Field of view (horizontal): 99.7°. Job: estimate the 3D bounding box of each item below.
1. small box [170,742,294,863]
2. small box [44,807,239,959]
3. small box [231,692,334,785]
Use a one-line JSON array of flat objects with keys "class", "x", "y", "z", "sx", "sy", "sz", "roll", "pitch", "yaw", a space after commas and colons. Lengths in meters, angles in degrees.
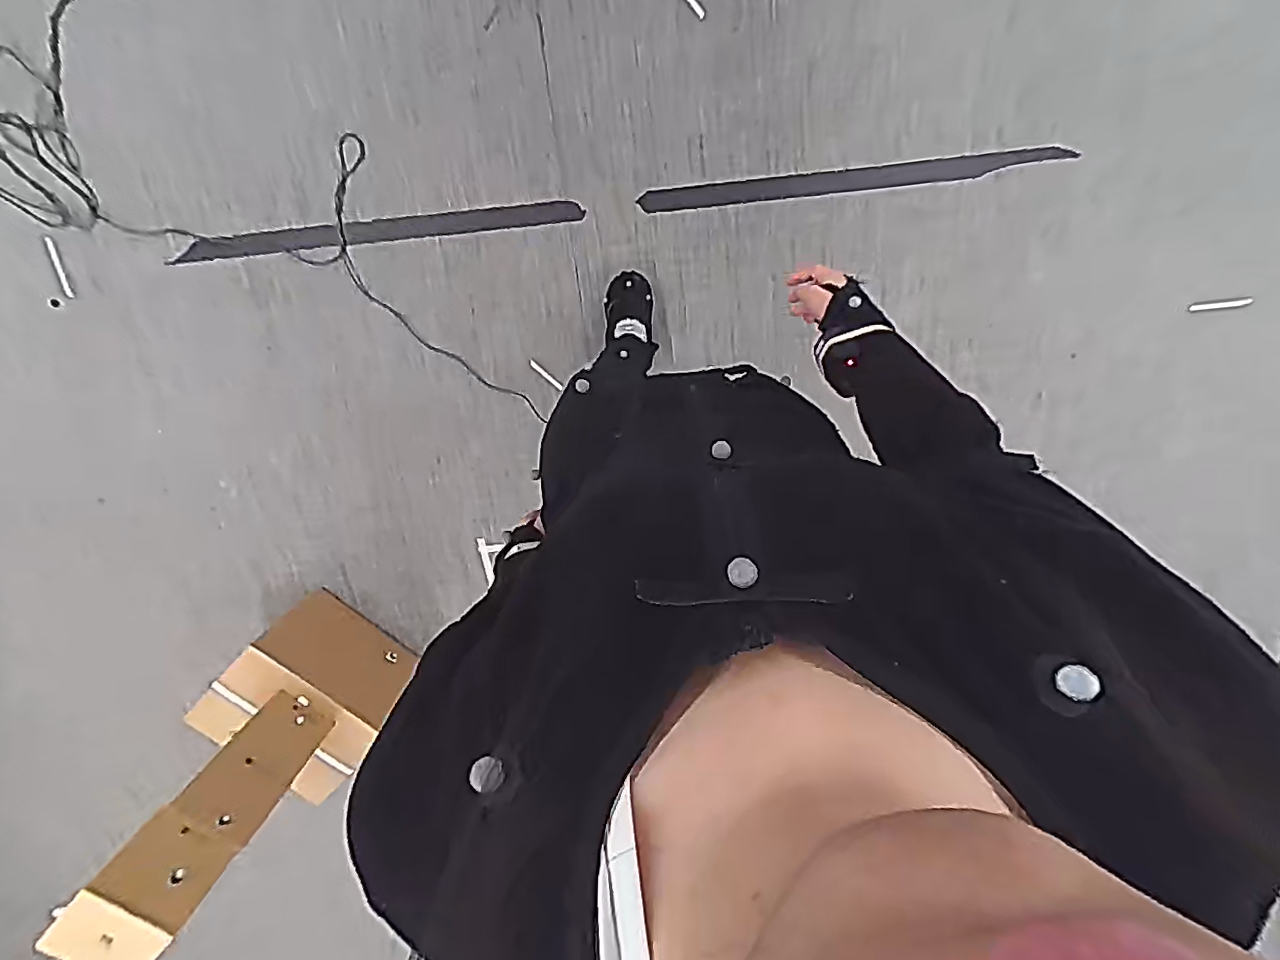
[{"class": "small box", "x": -0.880, "y": 0.701, "z": 1.136, "sx": 0.168, "sy": 0.176, "sz": 0.179, "roll": 41, "pitch": 103, "yaw": -11}, {"class": "small box", "x": -0.881, "y": 0.742, "z": 0.978, "sx": 0.168, "sy": 0.176, "sz": 0.179, "roll": 41, "pitch": 102, "yaw": -11}, {"class": "small box", "x": -0.878, "y": 0.652, "z": 1.292, "sx": 0.168, "sy": 0.176, "sz": 0.179, "roll": 41, "pitch": 102, "yaw": -11}]
